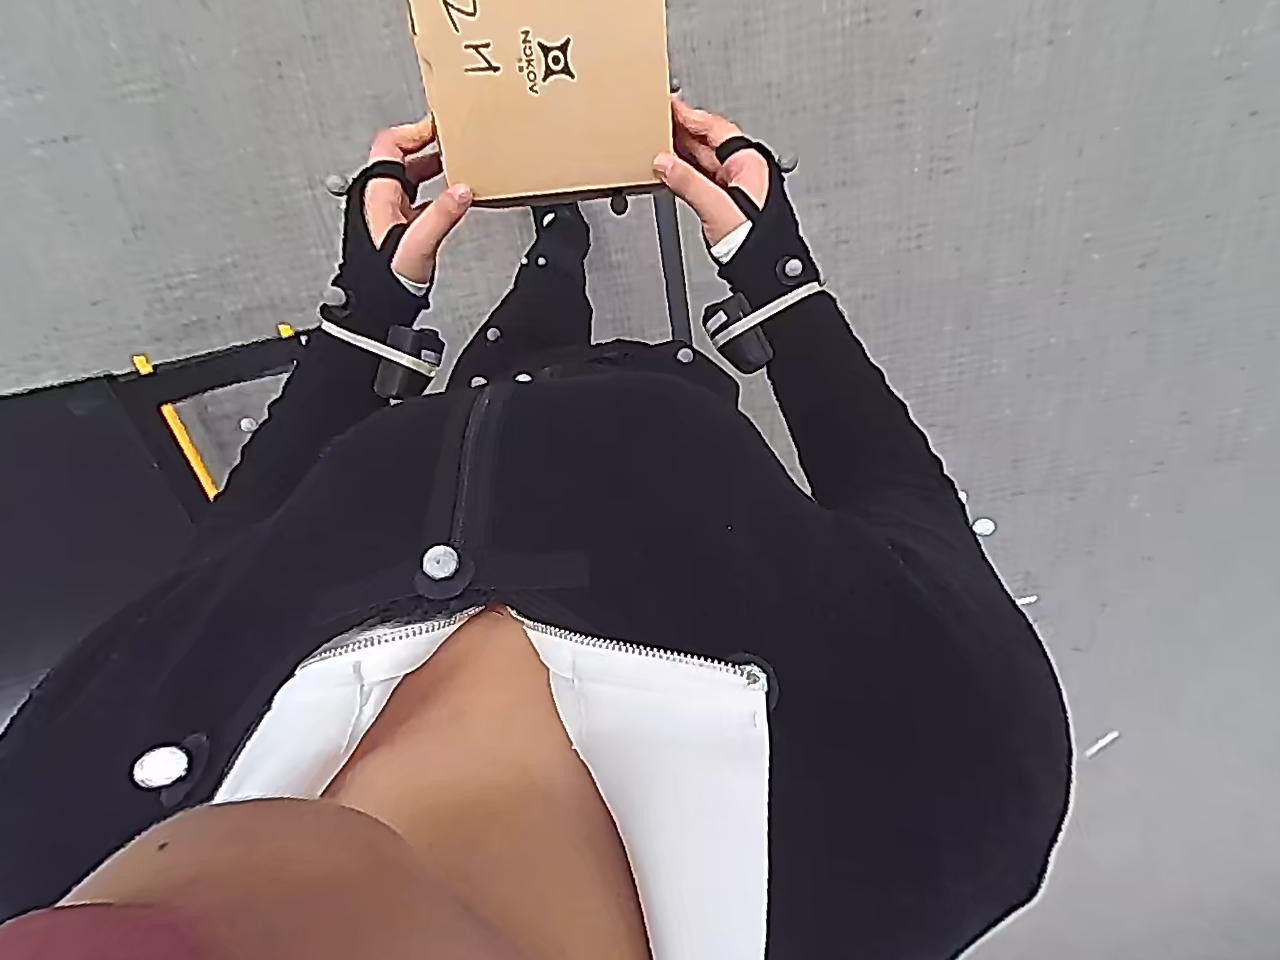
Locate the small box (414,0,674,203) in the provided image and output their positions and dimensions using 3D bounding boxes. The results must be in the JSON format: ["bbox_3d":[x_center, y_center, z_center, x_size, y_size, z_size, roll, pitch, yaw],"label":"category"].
[{"bbox_3d":[-0.068,-0.334,0.458,0.179,0.176,0.168,-4,115,2],"label":"small box"}]

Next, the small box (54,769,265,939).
[{"bbox_3d":[-0.769,0.609,0.897,0.179,0.176,0.168,-9,113,3],"label":"small box"}]
